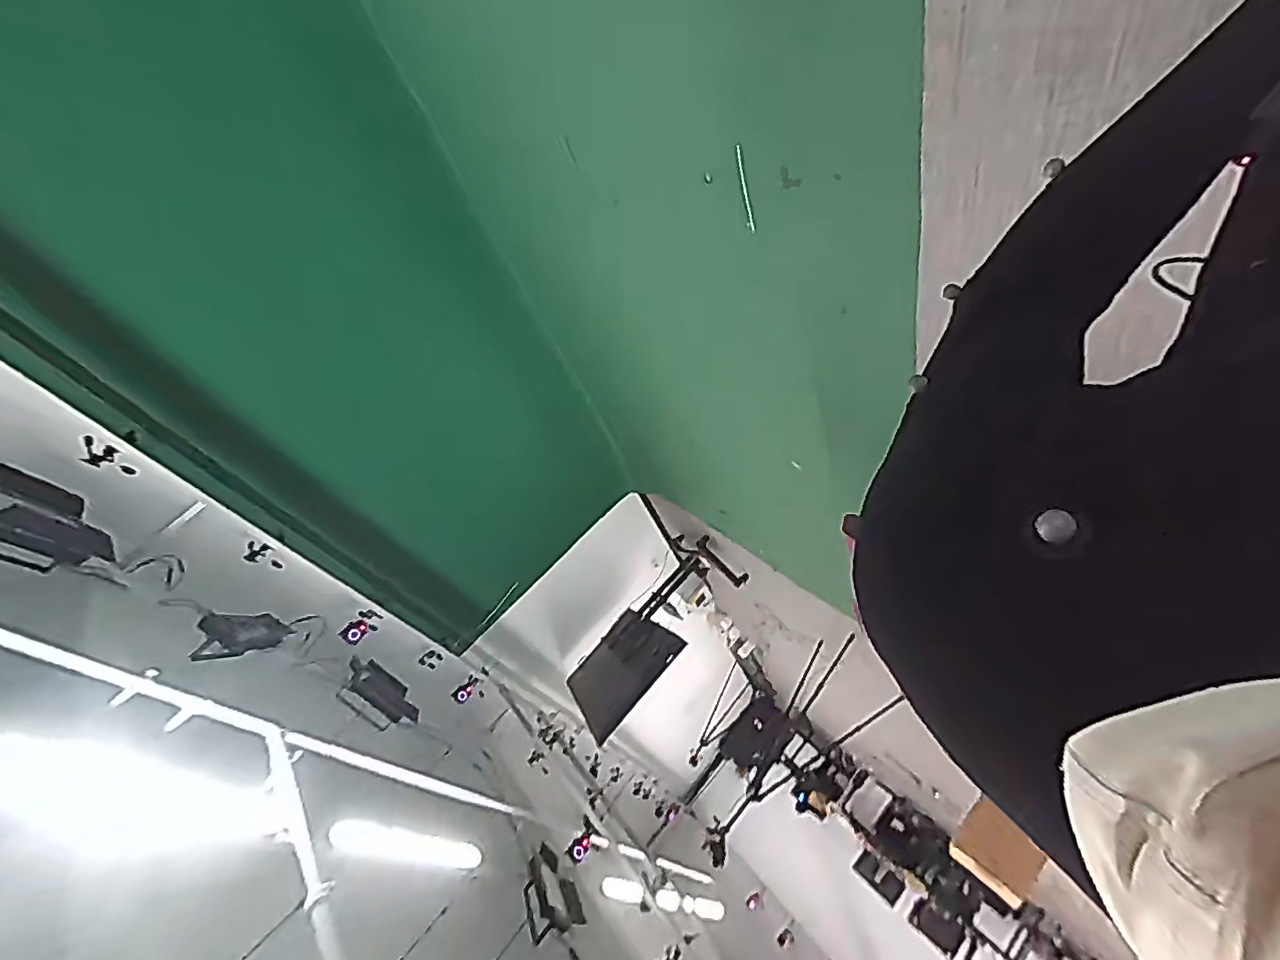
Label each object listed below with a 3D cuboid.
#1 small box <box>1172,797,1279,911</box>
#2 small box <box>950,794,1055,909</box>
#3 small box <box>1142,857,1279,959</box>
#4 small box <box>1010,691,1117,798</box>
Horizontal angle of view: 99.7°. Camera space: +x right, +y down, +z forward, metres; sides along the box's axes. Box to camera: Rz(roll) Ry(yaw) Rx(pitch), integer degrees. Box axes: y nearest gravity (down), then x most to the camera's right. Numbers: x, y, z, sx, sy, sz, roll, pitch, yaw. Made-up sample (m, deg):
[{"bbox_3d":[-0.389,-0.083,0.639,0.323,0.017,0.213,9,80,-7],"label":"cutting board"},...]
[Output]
[{"bbox_3d":[1.371,0.866,1.227,0.168,0.176,0.179,31,158,46],"label":"small box"},{"bbox_3d":[0.906,0.926,1.357,0.168,0.176,0.179,31,161,44],"label":"small box"},{"bbox_3d":[1.253,0.968,1.176,0.168,0.176,0.179,31,160,44],"label":"small box"},{"bbox_3d":[1.133,0.707,1.451,0.168,0.176,0.179,31,159,43],"label":"small box"}]
